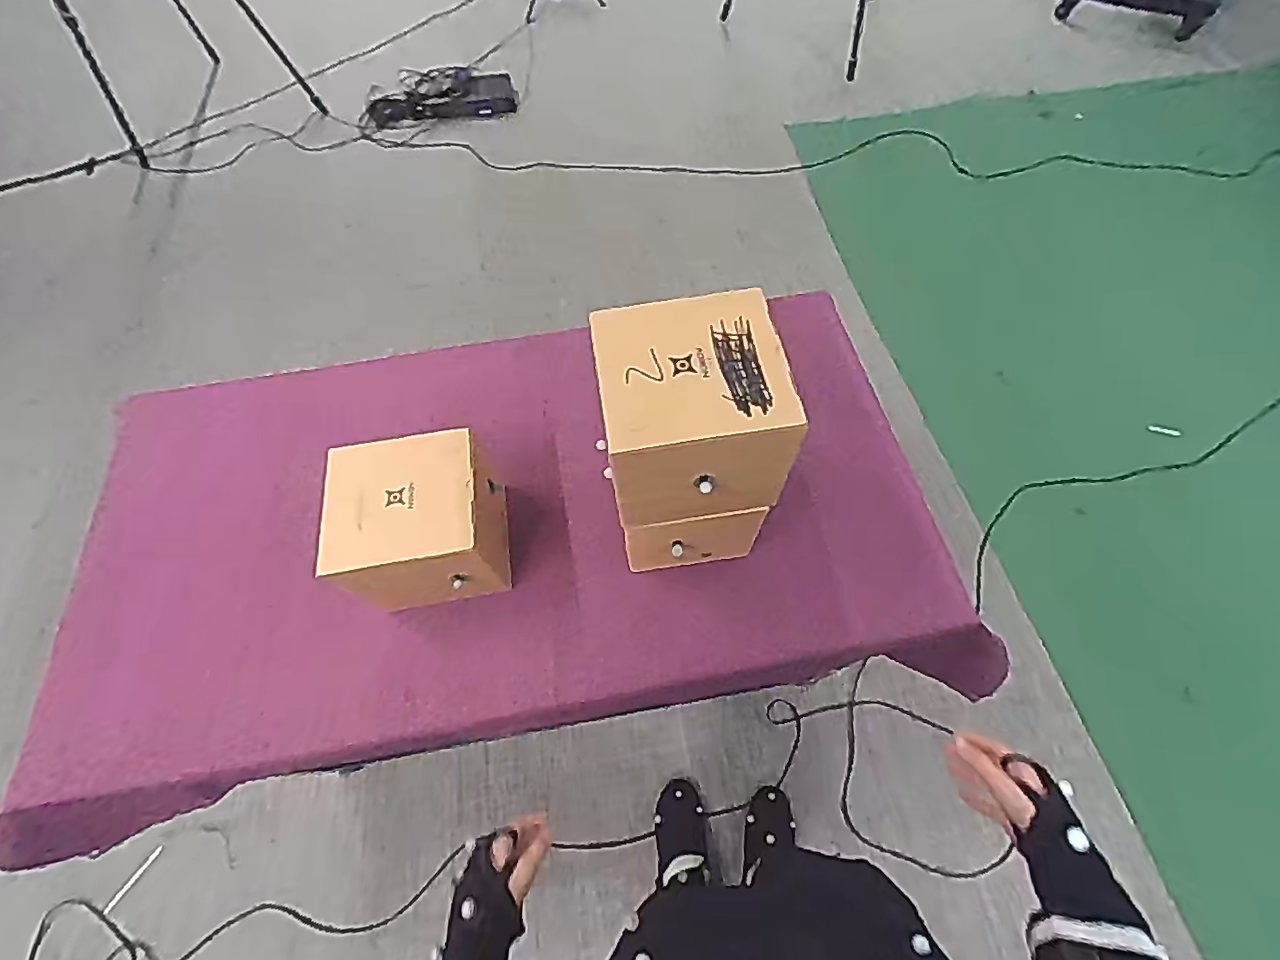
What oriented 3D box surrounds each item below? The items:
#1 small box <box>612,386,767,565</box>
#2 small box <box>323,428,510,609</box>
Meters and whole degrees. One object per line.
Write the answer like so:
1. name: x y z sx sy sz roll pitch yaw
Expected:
1. small box: 0.059 0.004 0.718 0.168 0.176 0.179 -8 62 -2
2. small box: -0.272 0.056 0.703 0.179 0.176 0.168 -9 62 -3
